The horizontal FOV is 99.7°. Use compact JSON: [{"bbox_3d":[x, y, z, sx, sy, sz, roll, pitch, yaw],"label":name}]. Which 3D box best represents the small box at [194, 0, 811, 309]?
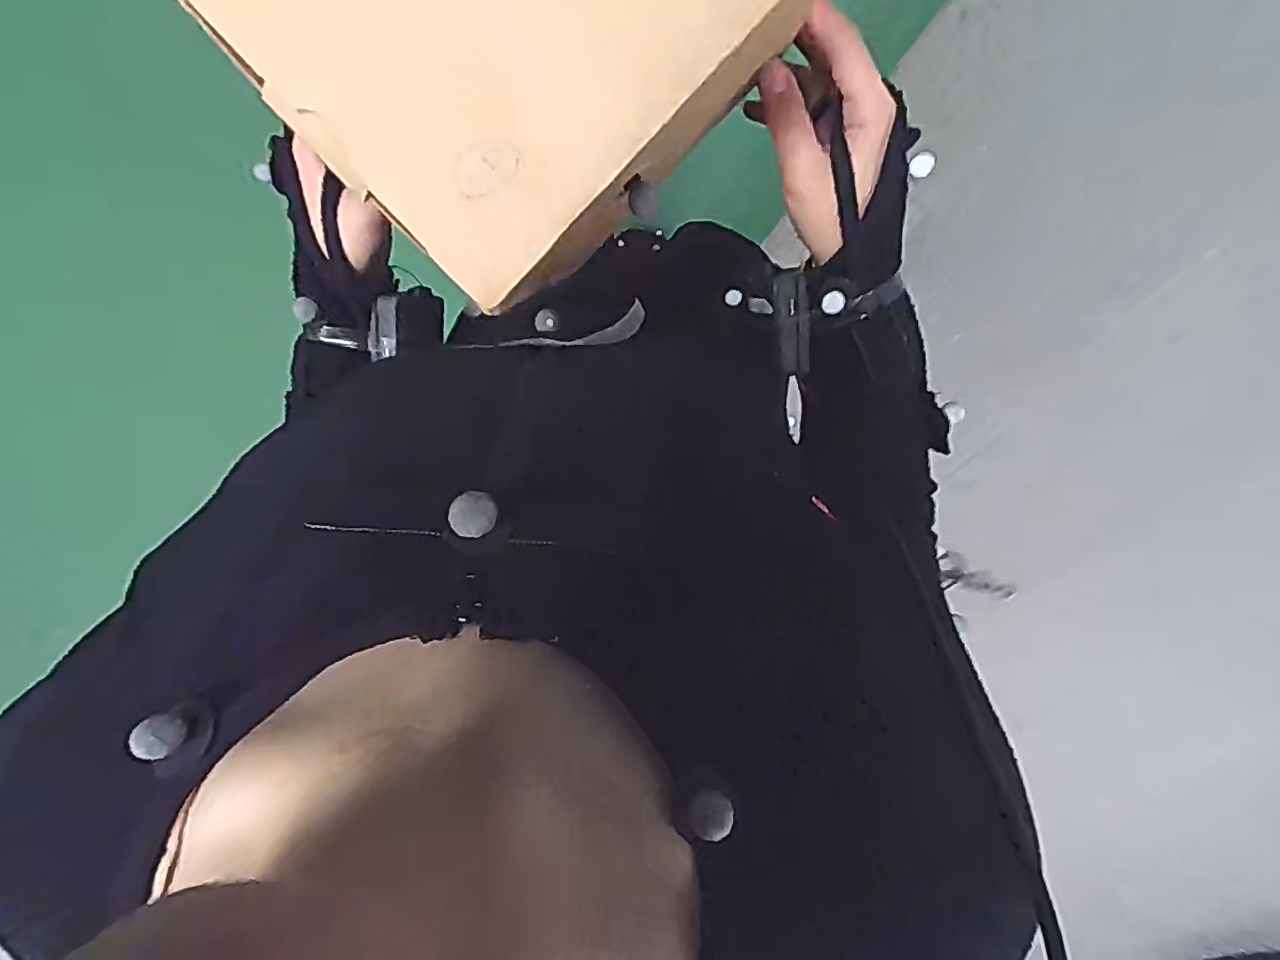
[{"bbox_3d":[-0.041,-0.205,0.235,0.179,0.176,0.168,-37,108,21],"label":"small box"}]
